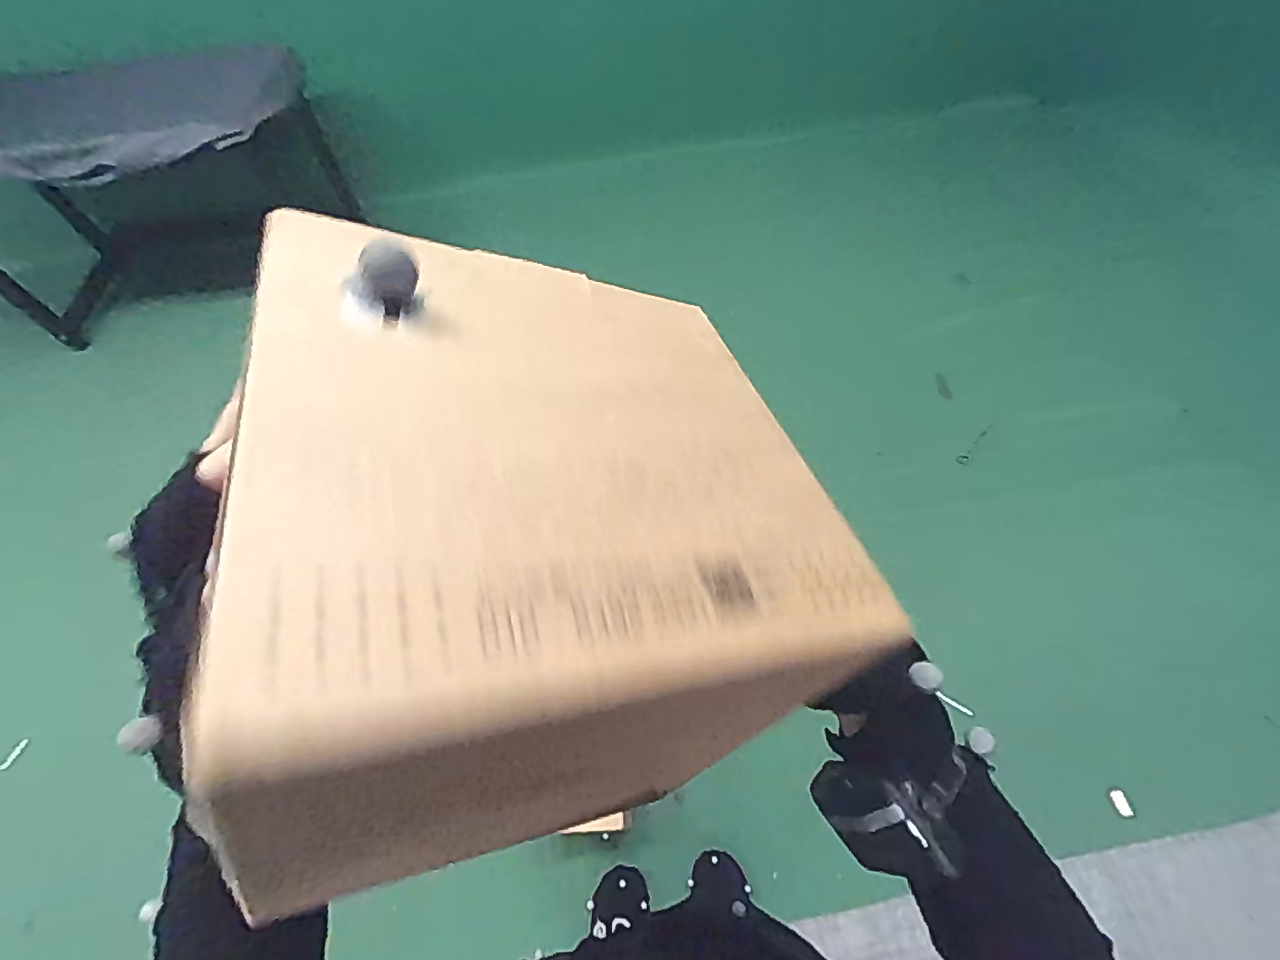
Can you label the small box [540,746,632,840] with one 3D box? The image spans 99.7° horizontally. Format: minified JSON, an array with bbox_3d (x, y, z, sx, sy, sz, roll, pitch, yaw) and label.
[{"bbox_3d":[-0.114,0.698,1.201,0.179,0.176,0.168,-5,56,1],"label":"small box"}]
